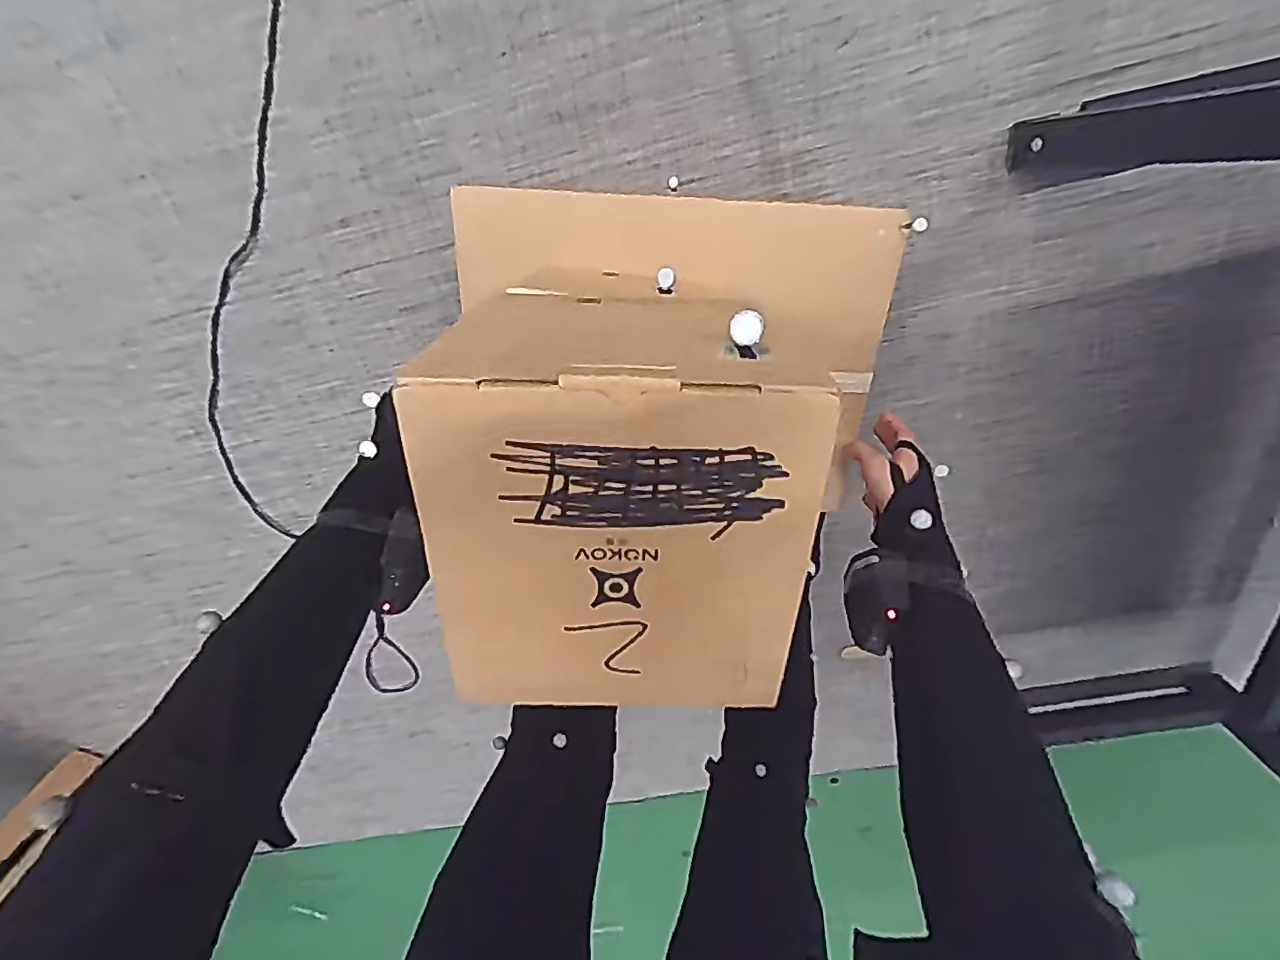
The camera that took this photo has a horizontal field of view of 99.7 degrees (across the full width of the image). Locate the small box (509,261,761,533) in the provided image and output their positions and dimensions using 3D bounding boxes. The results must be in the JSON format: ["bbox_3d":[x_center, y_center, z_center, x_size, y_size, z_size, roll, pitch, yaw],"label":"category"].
[{"bbox_3d":[-0.012,-0.079,0.456,0.168,0.176,0.179,6,118,-3],"label":"small box"}]
